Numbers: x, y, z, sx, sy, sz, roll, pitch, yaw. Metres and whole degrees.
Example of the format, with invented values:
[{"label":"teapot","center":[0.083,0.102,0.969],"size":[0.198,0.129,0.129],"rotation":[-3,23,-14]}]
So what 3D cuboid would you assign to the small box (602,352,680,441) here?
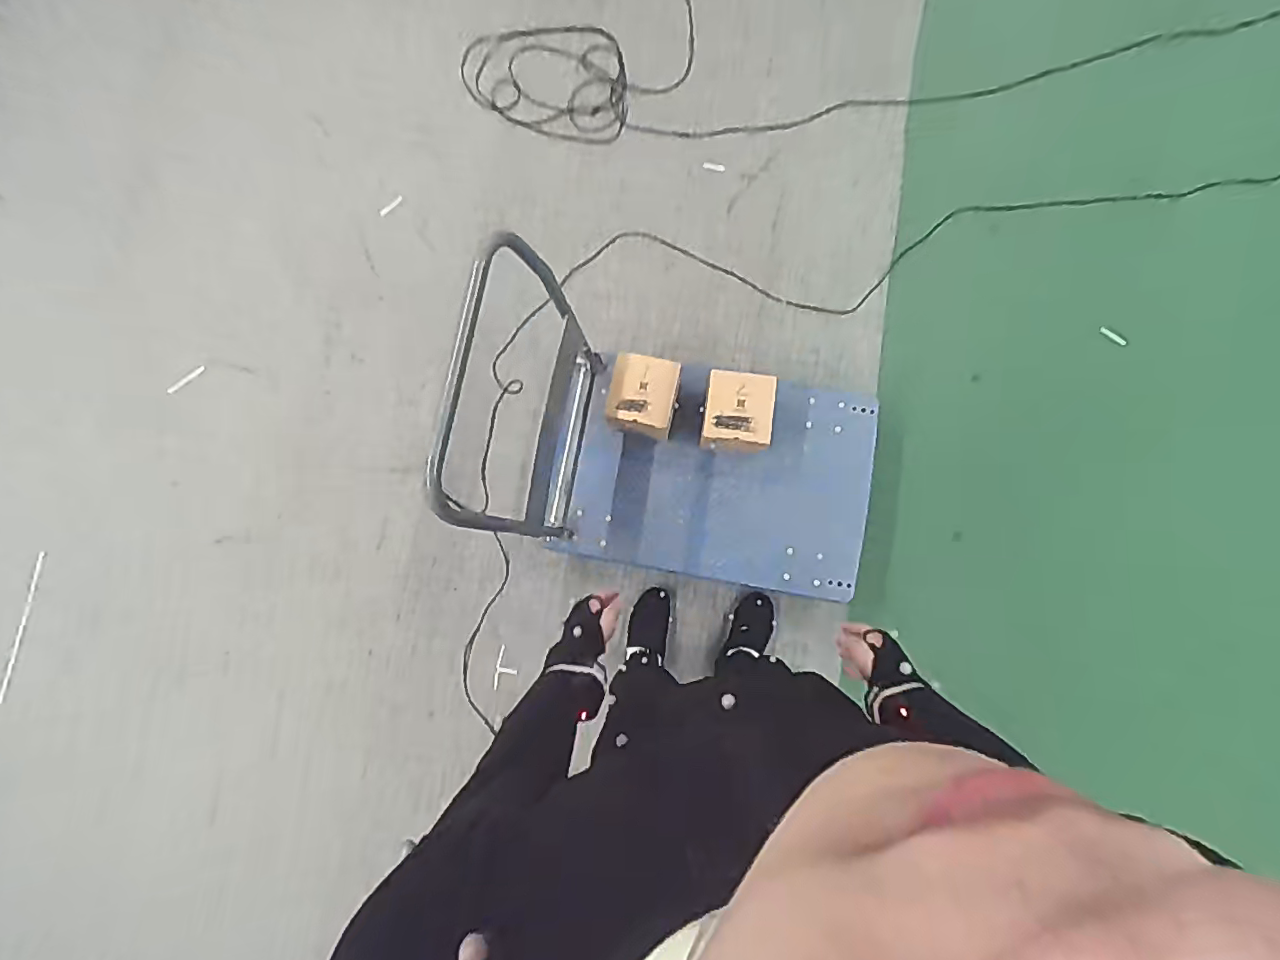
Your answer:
[{"label":"small box","center":[0.007,-0.213,1.426],"size":[0.168,0.176,0.179],"rotation":[13,82,4]}]
